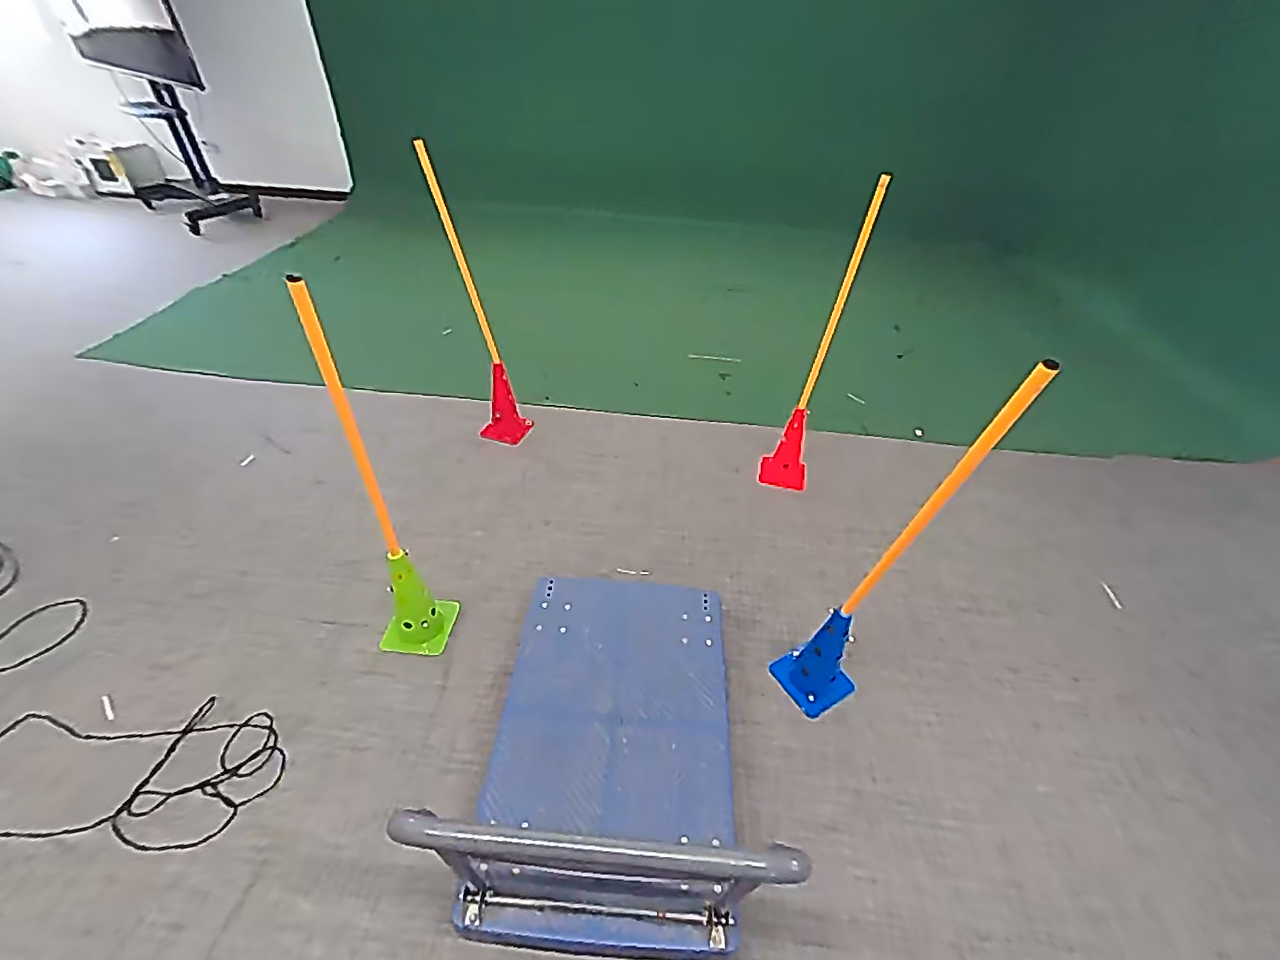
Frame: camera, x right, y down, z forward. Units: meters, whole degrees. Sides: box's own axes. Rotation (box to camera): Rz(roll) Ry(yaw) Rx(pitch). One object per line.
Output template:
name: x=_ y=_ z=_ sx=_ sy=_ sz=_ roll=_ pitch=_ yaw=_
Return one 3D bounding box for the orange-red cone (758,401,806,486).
orange-red cone: x=0.639 y=-0.175 z=2.289 sx=0.198 sy=0.360 sz=0.199 roll=12 pitch=43 yaw=11
